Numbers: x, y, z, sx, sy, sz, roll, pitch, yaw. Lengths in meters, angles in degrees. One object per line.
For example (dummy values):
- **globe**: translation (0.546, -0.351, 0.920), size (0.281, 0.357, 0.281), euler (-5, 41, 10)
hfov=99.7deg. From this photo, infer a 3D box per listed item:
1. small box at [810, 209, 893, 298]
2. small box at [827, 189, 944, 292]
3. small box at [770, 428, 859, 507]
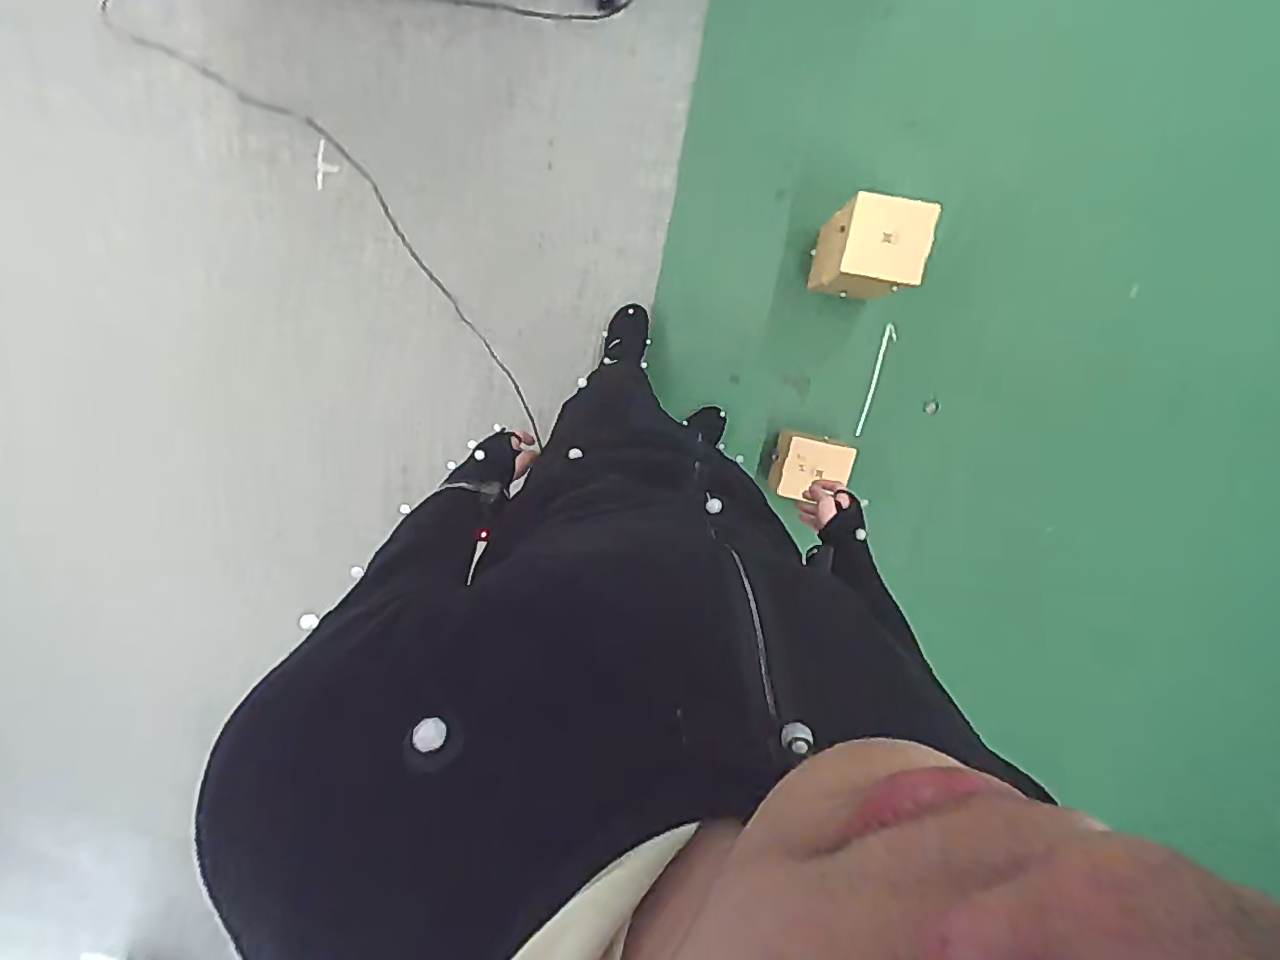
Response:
- **small box**: translation (0.555, -0.570, 1.383), size (0.179, 0.176, 0.168), euler (11, 103, 2)
- **small box**: translation (0.543, -0.533, 1.227), size (0.179, 0.176, 0.168), euler (11, 102, 1)
- **small box**: translation (0.477, -0.041, 1.507), size (0.179, 0.176, 0.168), euler (13, 103, 2)
